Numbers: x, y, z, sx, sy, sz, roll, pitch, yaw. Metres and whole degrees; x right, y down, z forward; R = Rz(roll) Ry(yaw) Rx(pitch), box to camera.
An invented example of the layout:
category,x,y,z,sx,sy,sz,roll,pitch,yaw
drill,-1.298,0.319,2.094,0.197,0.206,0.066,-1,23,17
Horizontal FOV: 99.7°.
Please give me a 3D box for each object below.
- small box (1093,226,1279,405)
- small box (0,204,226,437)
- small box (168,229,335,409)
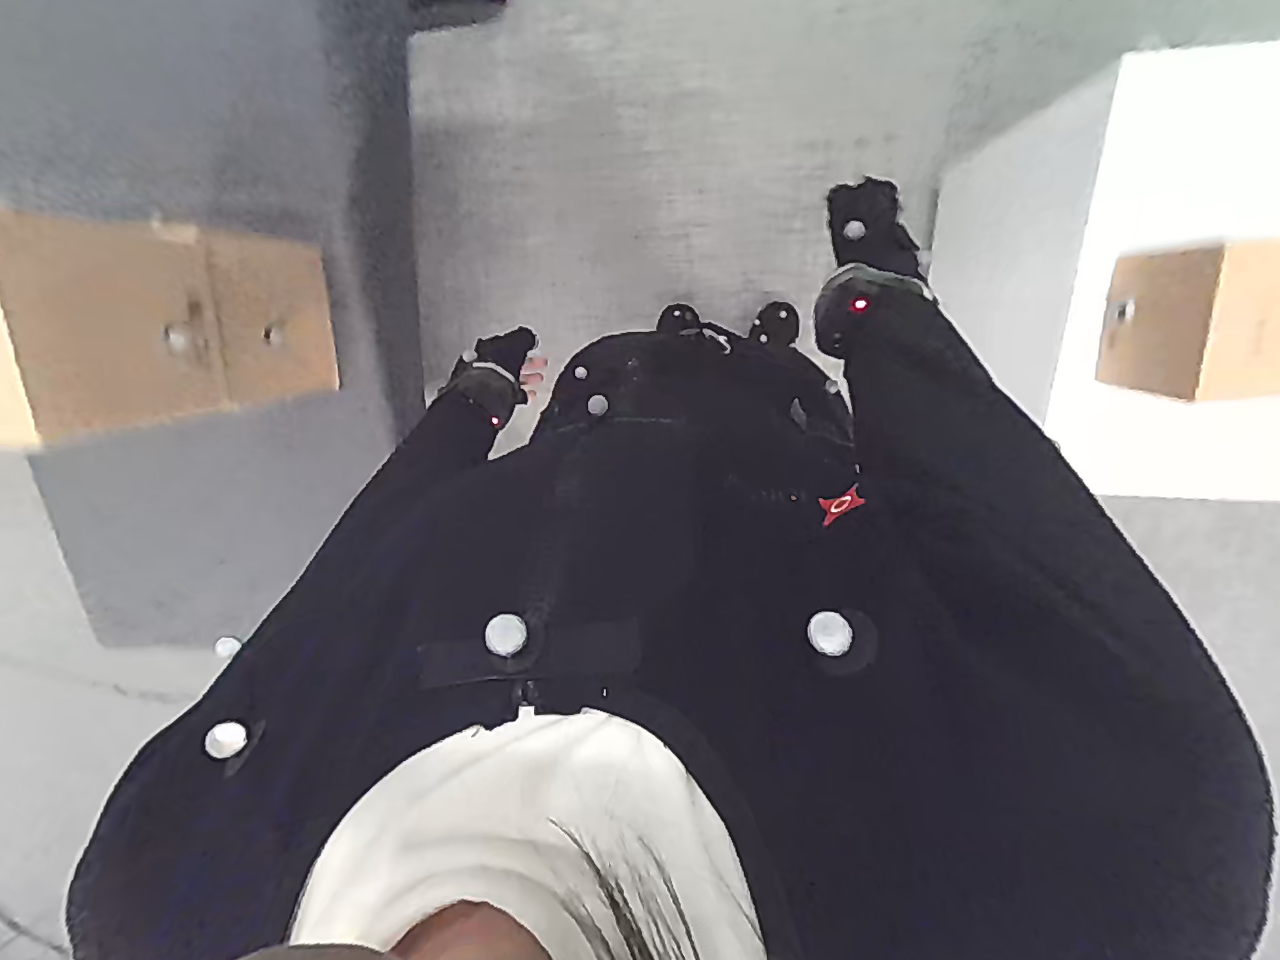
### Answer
category,x,y,z,sx,sy,sz,roll,pitch,yaw
small box,0.648,-0.181,0.583,0.179,0.176,0.168,-3,107,12
small box,-0.522,-0.140,0.475,0.179,0.176,0.168,4,109,11
small box,-0.489,-0.189,0.629,0.168,0.176,0.179,4,109,10
